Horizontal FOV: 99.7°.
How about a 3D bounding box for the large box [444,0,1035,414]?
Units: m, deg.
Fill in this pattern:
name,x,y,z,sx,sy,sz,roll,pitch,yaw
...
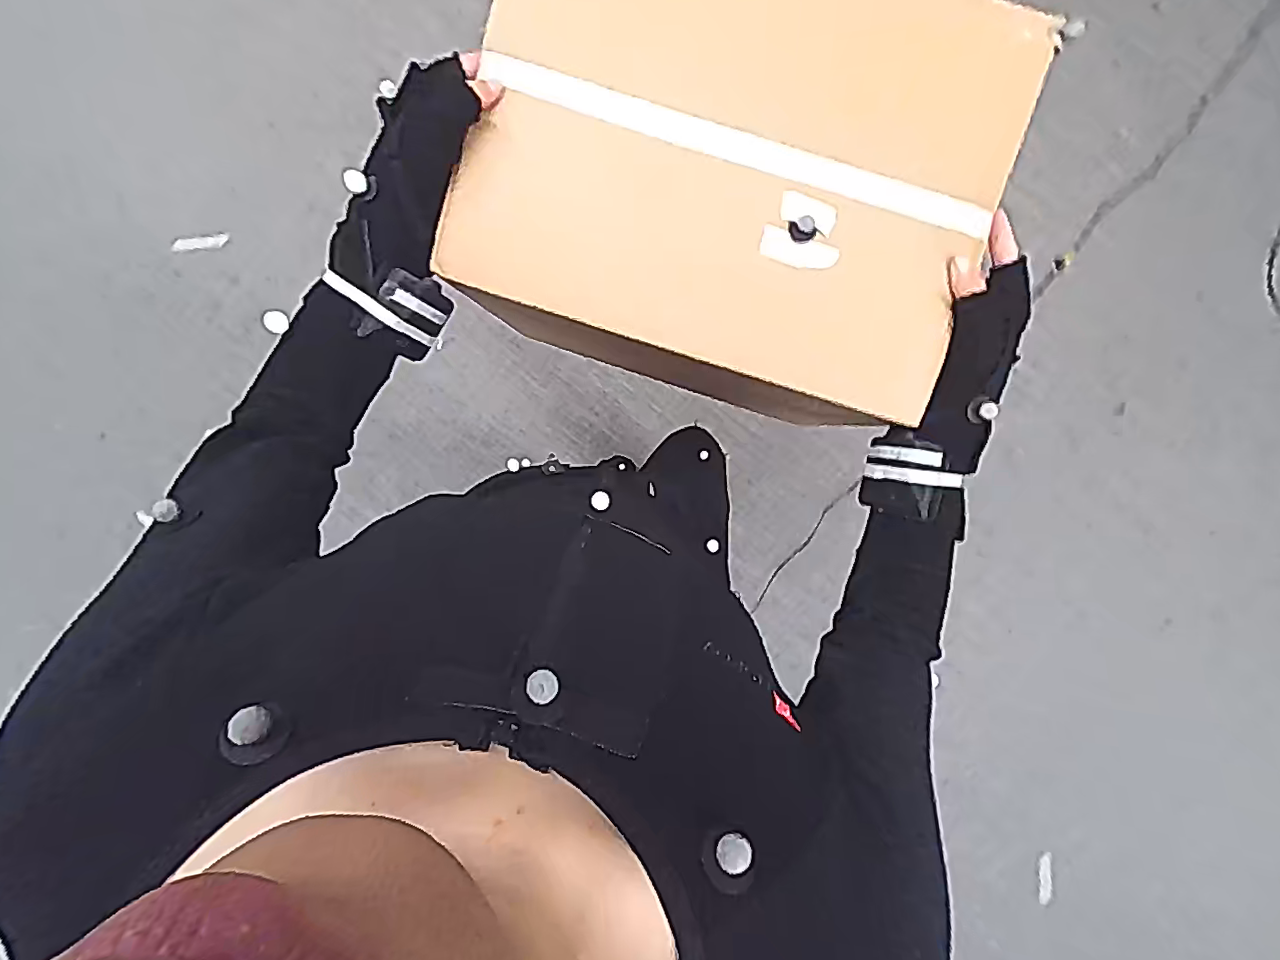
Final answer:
name,x,y,z,sx,sy,sz,roll,pitch,yaw
large box,0.072,-0.274,0.569,0.408,0.320,0.320,17,96,-1
